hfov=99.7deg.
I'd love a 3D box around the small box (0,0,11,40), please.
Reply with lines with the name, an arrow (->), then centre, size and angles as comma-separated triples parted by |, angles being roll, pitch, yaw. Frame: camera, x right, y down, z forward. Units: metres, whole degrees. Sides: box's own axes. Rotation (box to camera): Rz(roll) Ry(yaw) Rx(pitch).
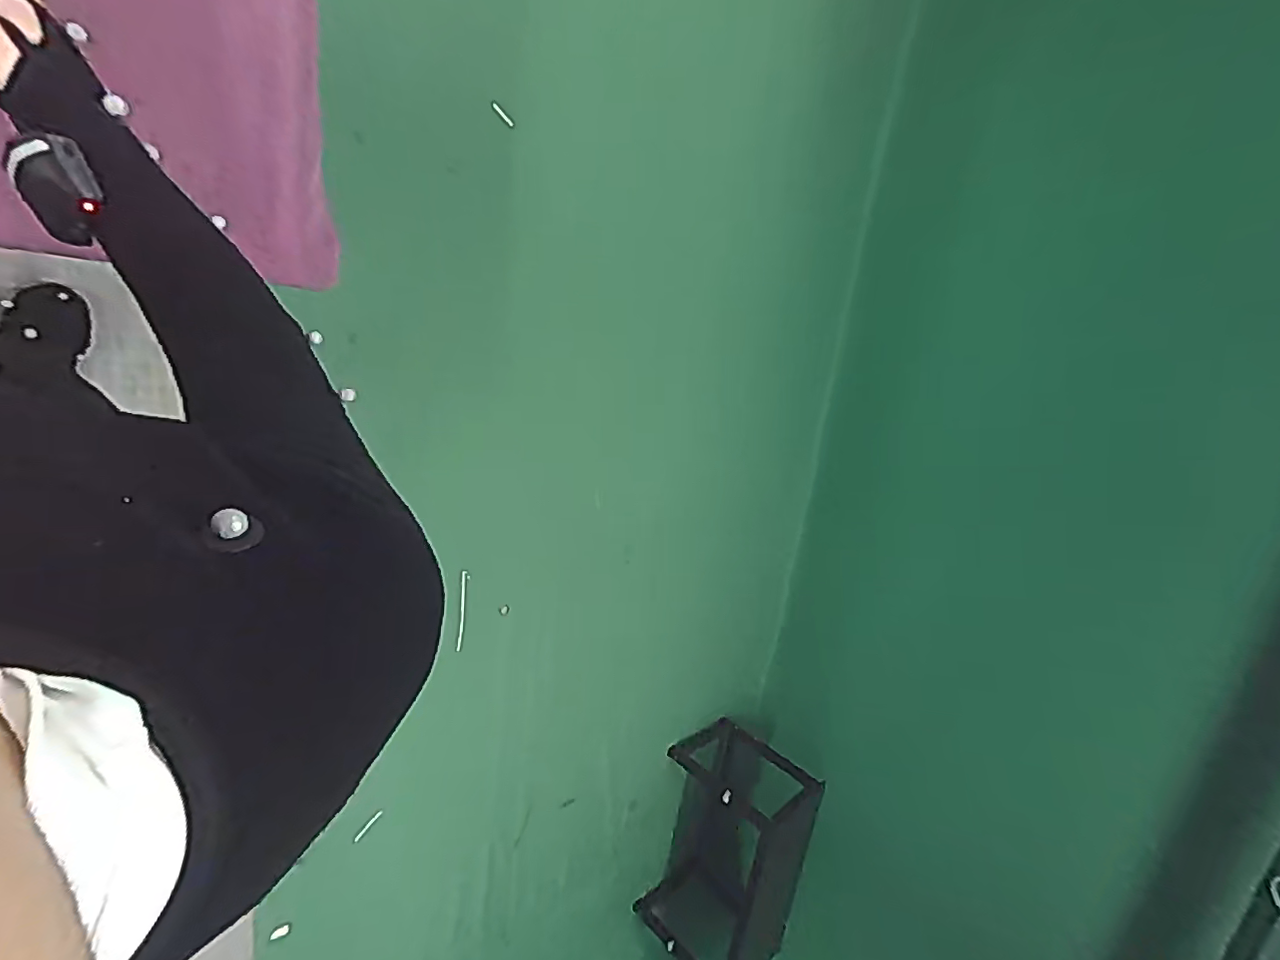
small box -> -0.606, -0.484, 0.402 | 0.168, 0.176, 0.179 | -5, 108, -45
